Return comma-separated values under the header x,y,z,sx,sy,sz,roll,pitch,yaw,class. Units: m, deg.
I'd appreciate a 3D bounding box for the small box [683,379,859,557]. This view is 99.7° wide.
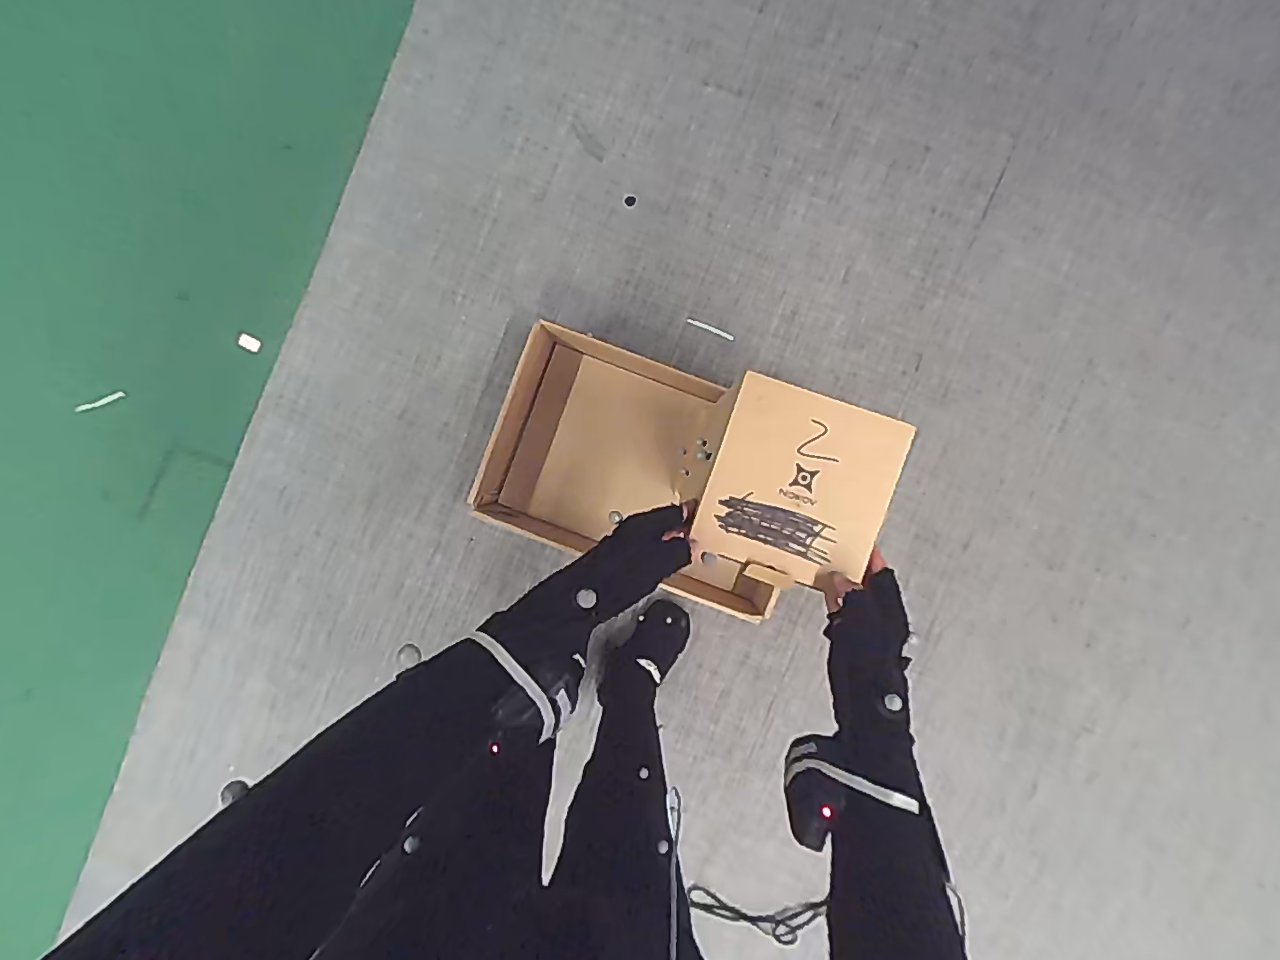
x,y,z,sx,sy,sz,roll,pitch,yaw,class
0.165,-0.017,0.742,0.168,0.176,0.179,22,92,1,small box

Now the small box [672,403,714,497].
x,y,z,sx,sy,sz,roll,pitch,yaw,class
0.168,-0.037,1.071,0.168,0.176,0.179,17,92,3,small box
